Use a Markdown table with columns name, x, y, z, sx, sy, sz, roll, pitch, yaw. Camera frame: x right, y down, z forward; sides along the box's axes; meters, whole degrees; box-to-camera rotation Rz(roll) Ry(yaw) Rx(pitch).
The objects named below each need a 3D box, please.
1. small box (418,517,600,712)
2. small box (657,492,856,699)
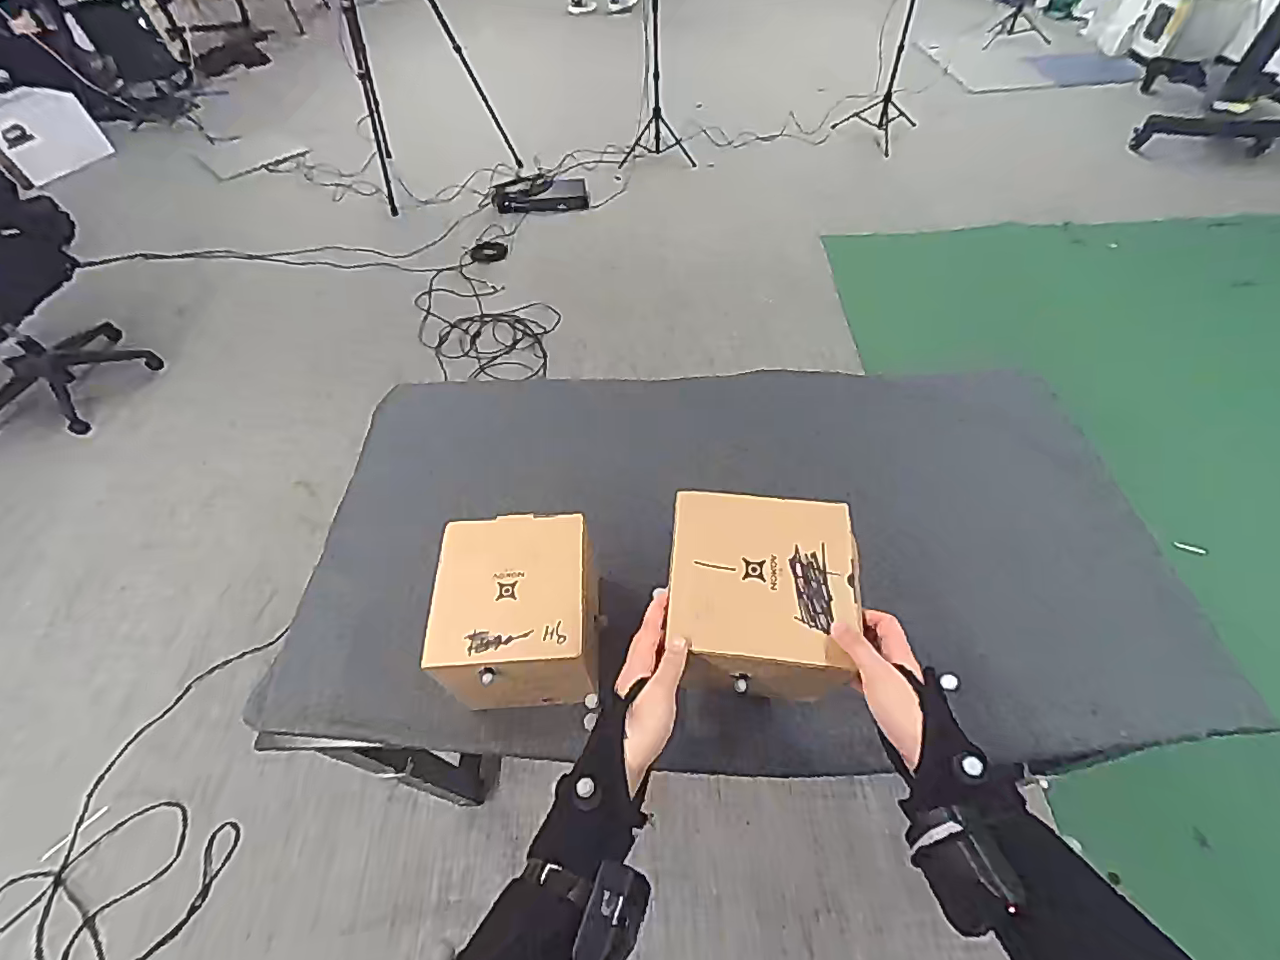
| name | x | y | z | sx | sy | sz | roll | pitch | yaw |
| --- | --- | --- | --- | --- | --- | --- | --- | --- | --- |
| small box | -0.141 | 0.165 | 0.656 | 0.168 | 0.176 | 0.179 | -4 | 52 | 2 |
| small box | 0.114 | 0.132 | 0.585 | 0.179 | 0.176 | 0.168 | 5 | 59 | 5 |
